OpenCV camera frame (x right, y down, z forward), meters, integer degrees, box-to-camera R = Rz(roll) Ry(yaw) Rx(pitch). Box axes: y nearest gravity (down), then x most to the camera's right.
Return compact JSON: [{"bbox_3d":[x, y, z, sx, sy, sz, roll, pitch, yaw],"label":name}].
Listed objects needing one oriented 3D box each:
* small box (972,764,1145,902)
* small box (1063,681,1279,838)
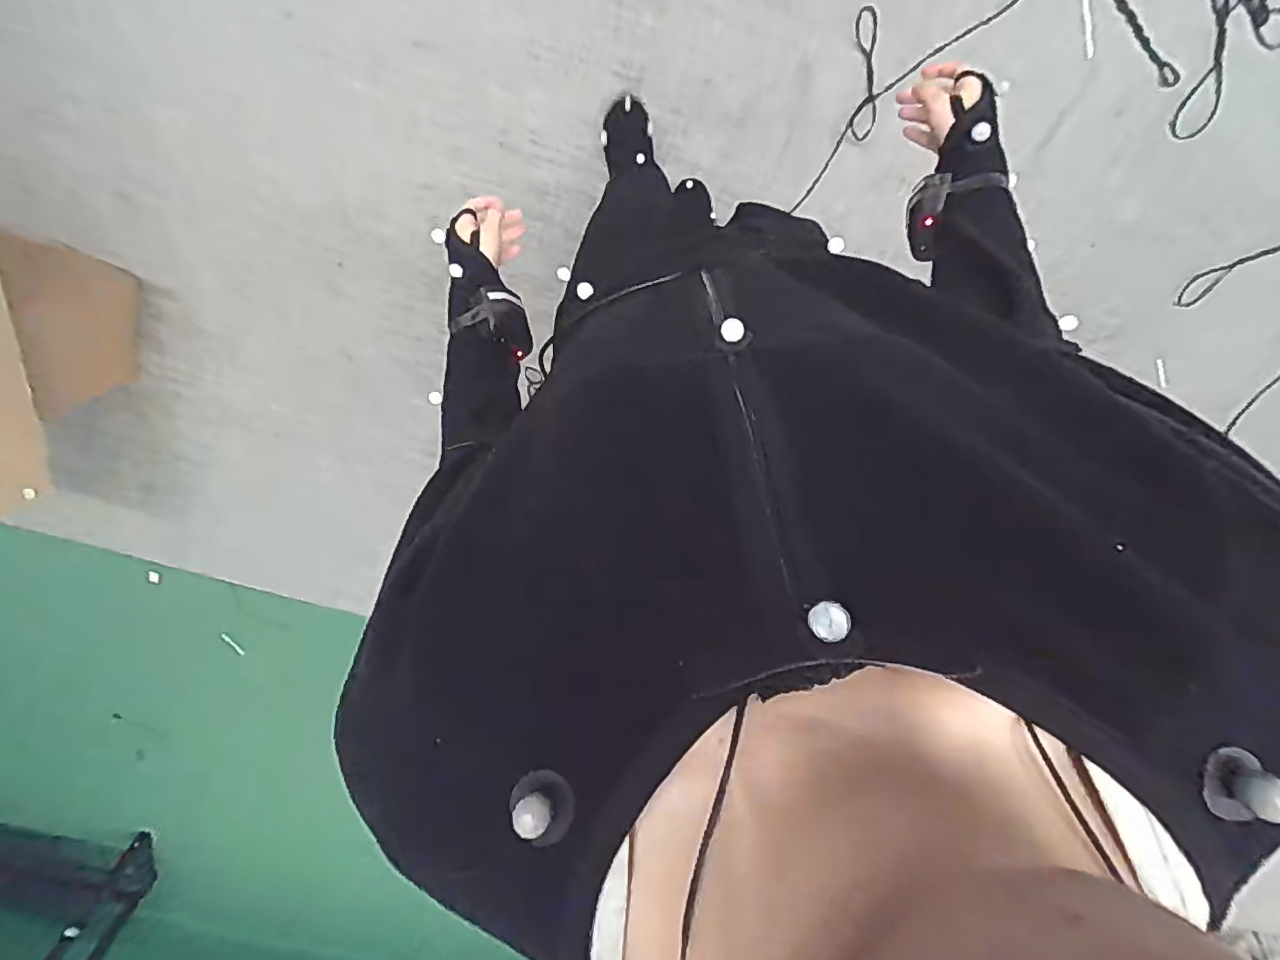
[{"bbox_3d":[0.820,0.701,1.083,0.179,0.176,0.168,15,119,-5],"label":"small box"},{"bbox_3d":[0.913,0.485,0.953,0.179,0.176,0.168,20,119,-8],"label":"small box"}]
